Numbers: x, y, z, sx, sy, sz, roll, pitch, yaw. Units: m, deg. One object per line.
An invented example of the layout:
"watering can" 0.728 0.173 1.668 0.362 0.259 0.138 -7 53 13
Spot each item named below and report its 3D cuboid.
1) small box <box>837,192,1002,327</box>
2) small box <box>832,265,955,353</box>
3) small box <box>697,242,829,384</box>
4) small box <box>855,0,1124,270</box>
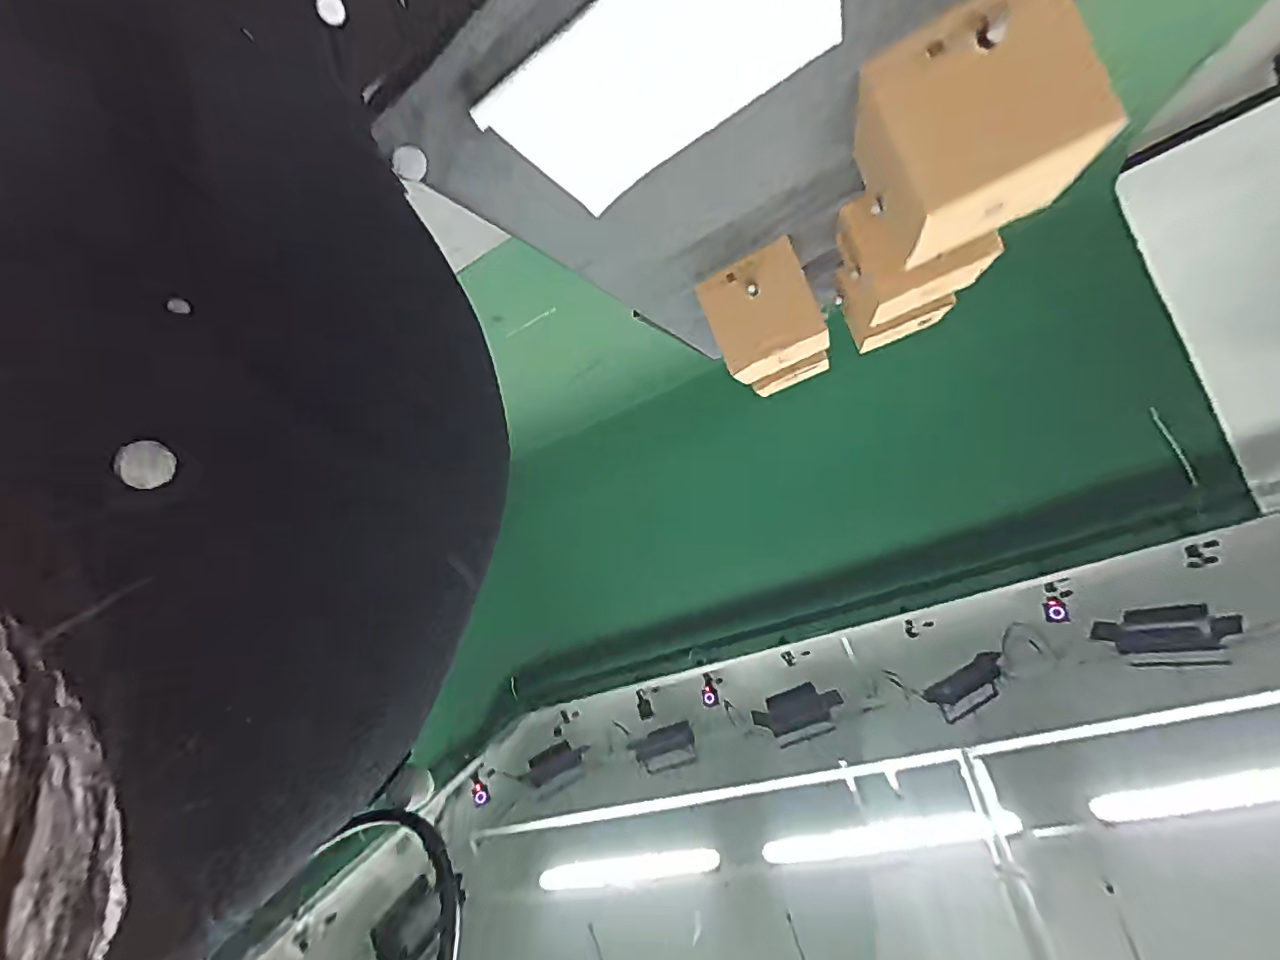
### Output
"small box" 0.432 -0.377 0.871 0.179 0.176 0.168 -23 176 18
"small box" 0.526 -0.394 1.144 0.179 0.176 0.168 -22 176 18
"small box" 0.218 -0.285 0.947 0.168 0.176 0.179 -24 176 20
"small box" 0.340 -0.357 0.568 0.168 0.176 0.179 -23 178 19
